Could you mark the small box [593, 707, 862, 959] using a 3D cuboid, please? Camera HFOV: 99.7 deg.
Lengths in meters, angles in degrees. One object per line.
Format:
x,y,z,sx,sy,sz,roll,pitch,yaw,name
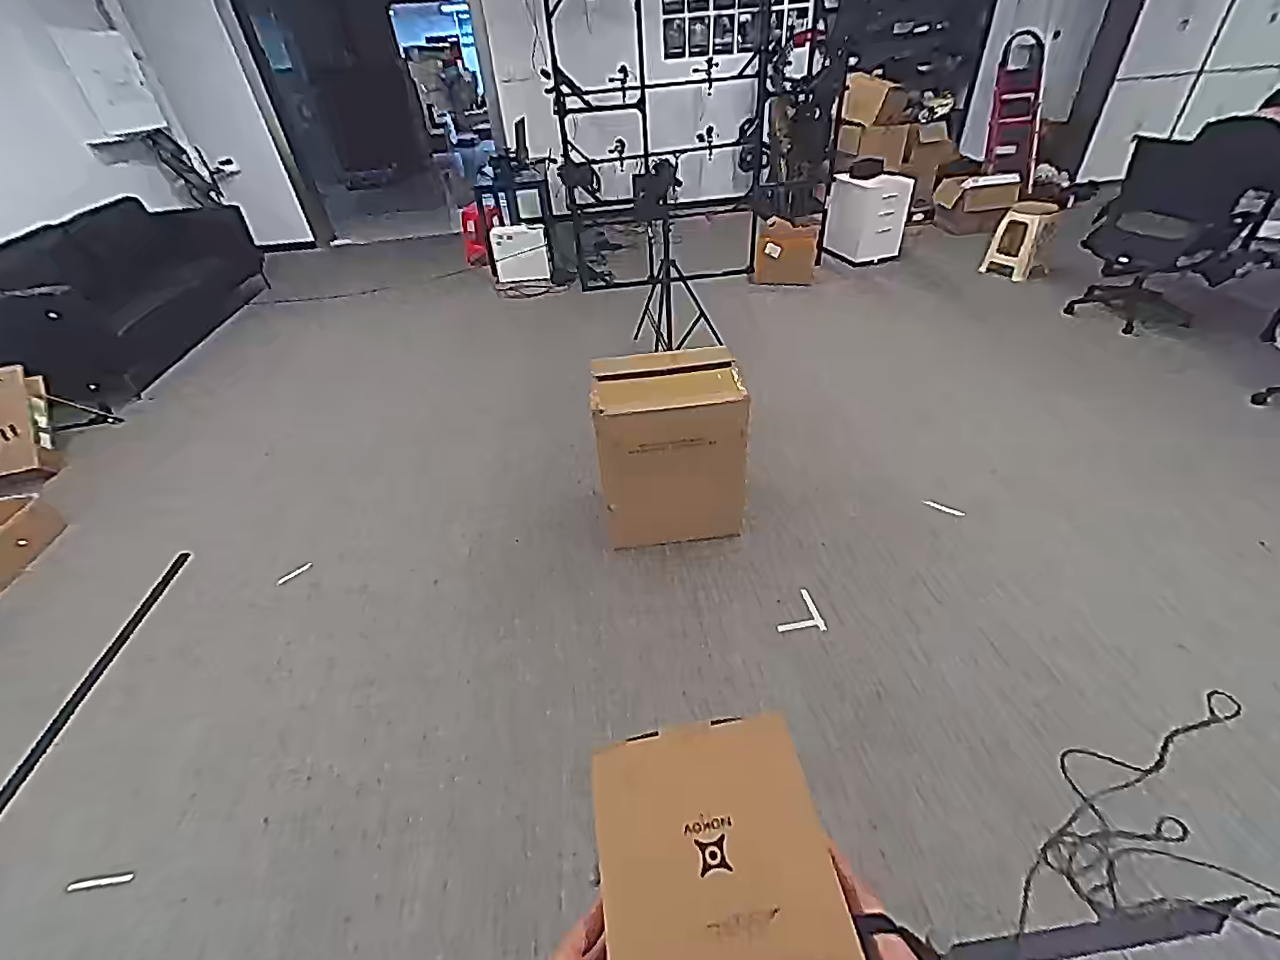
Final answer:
0.056,0.322,0.455,0.168,0.176,0.179,-9,46,-3,small box
